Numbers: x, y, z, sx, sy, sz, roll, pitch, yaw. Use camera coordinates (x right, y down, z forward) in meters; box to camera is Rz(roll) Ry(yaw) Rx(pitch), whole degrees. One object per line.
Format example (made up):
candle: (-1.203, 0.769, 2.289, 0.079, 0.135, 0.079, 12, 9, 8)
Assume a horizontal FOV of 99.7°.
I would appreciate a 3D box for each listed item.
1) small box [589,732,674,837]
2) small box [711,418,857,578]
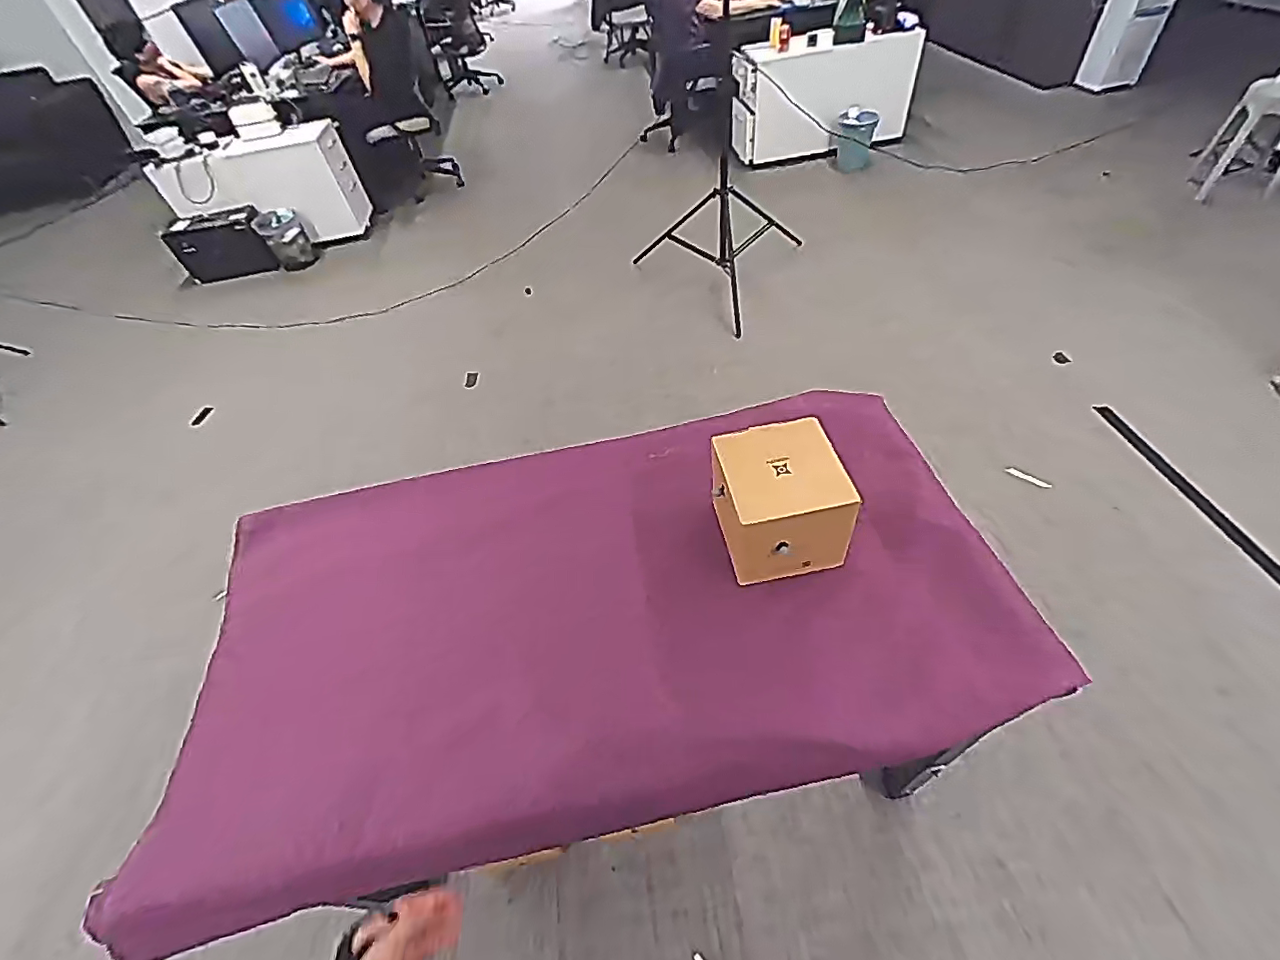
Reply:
small box: (-0.018, 0.713, 1.257, 0.168, 0.176, 0.179, -10, 48, -1)
small box: (0.213, 0.036, 0.839, 0.168, 0.176, 0.179, -12, 48, 0)
